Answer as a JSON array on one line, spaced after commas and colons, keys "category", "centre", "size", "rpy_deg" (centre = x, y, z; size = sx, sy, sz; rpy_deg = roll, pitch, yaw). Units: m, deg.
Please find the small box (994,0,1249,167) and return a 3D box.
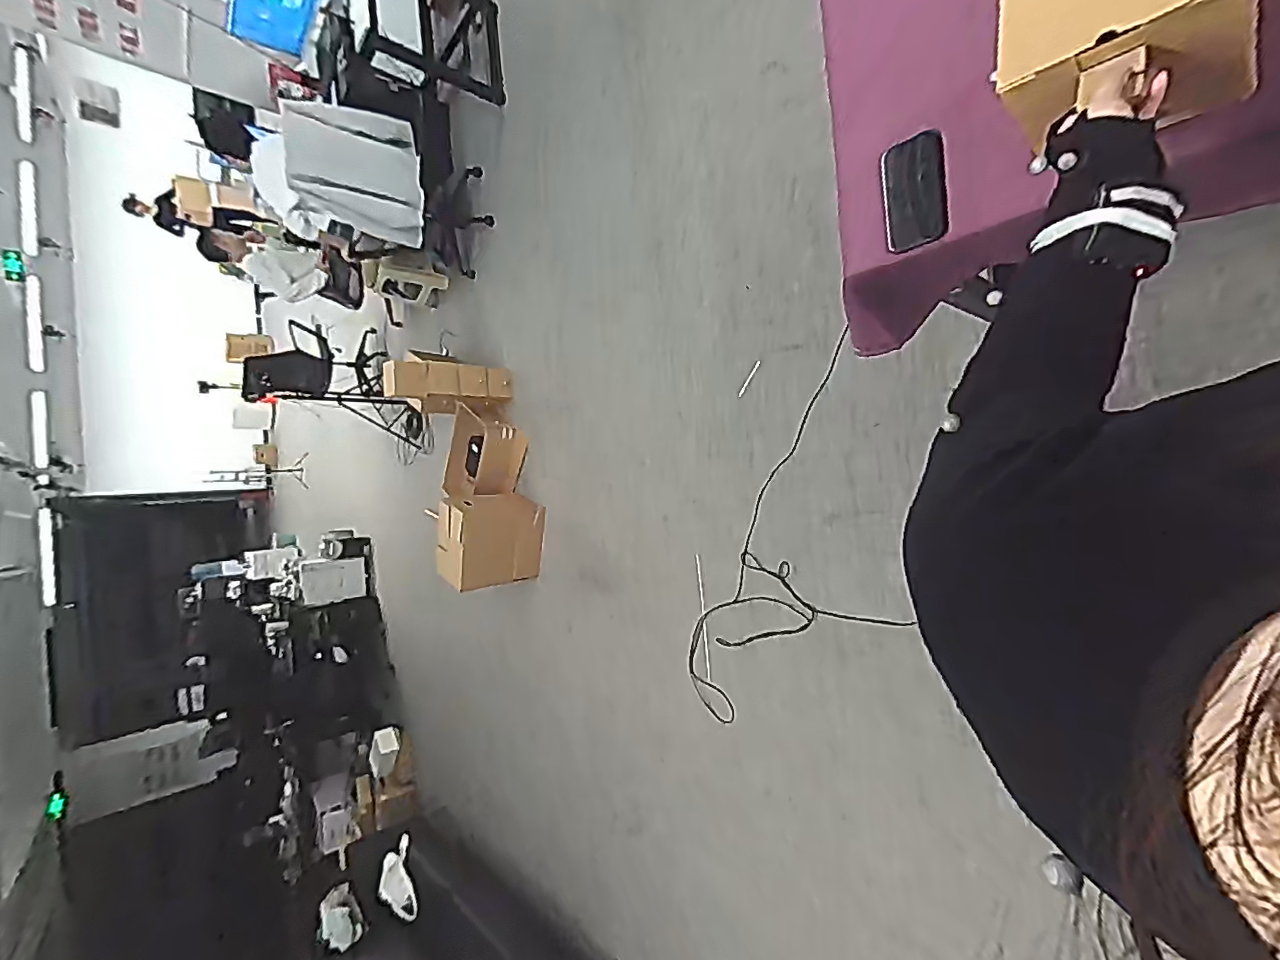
[{"category": "small box", "centre": [0.465, -0.450, 0.524], "size": [0.168, 0.176, 0.179], "rpy_deg": [2, 88, 48]}]
